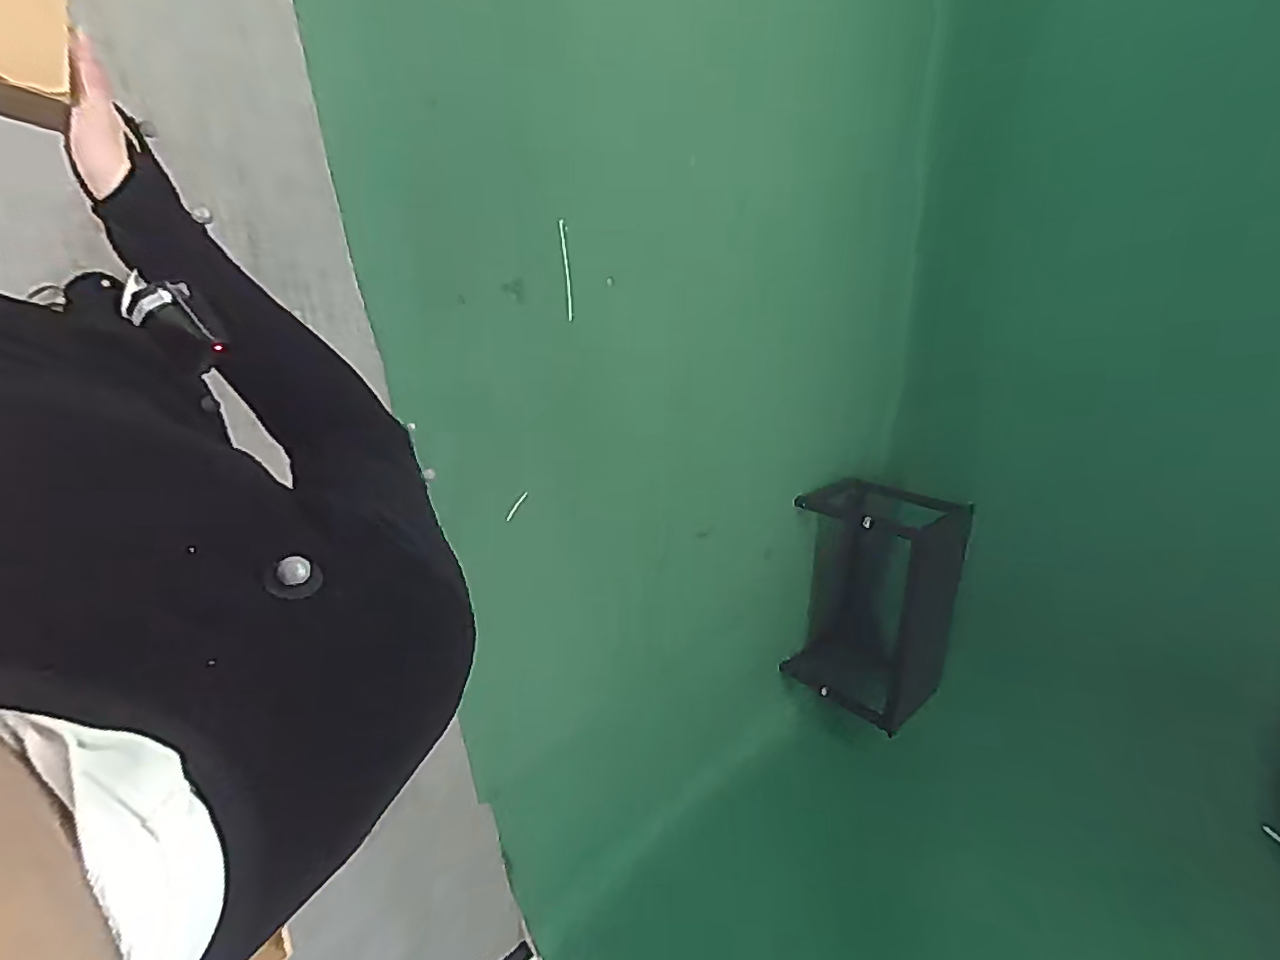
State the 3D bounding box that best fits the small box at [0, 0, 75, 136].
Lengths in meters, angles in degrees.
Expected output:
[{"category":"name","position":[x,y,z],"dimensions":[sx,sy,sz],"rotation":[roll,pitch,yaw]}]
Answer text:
[{"category":"small box","position":[-0.504,-0.366,0.364],"dimensions":[0.168,0.176,0.179],"rotation":[-2,109,-46]}]
